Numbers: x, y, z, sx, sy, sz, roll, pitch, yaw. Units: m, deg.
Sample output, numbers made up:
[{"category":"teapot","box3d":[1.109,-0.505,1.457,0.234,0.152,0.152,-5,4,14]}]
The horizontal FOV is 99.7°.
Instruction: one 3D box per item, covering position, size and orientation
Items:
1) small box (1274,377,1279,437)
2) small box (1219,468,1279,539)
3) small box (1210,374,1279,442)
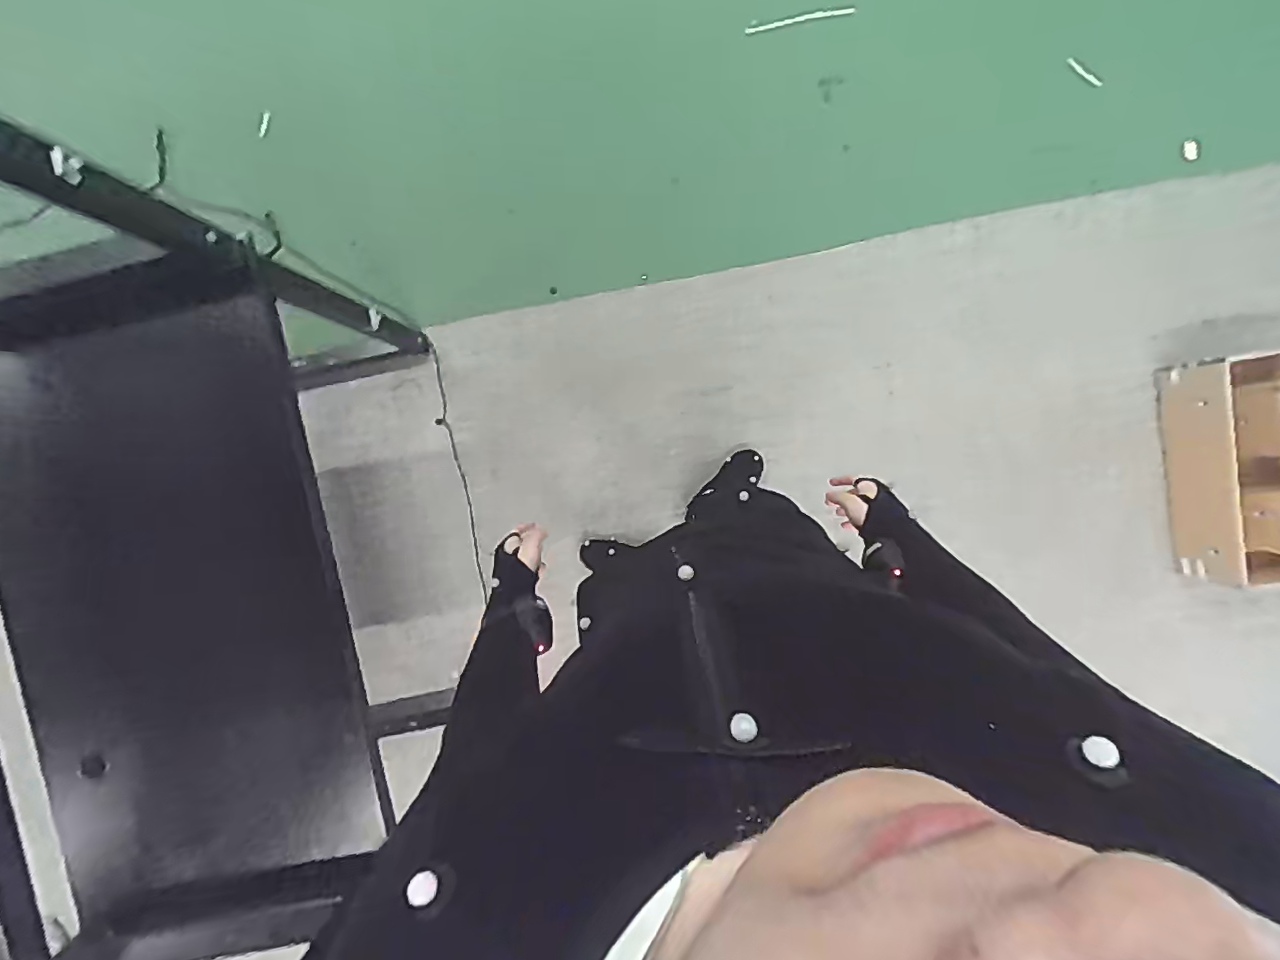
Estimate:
[{"category":"small box","box3d":[1.694,-0.189,1.288,0.179,0.176,0.168,-5,93,1]},{"category":"small box","box3d":[1.739,0.063,1.469,0.179,0.176,0.168,-10,93,2]},{"category":"small box","box3d":[1.697,-0.195,1.452,0.179,0.176,0.168,-11,95,2]}]
